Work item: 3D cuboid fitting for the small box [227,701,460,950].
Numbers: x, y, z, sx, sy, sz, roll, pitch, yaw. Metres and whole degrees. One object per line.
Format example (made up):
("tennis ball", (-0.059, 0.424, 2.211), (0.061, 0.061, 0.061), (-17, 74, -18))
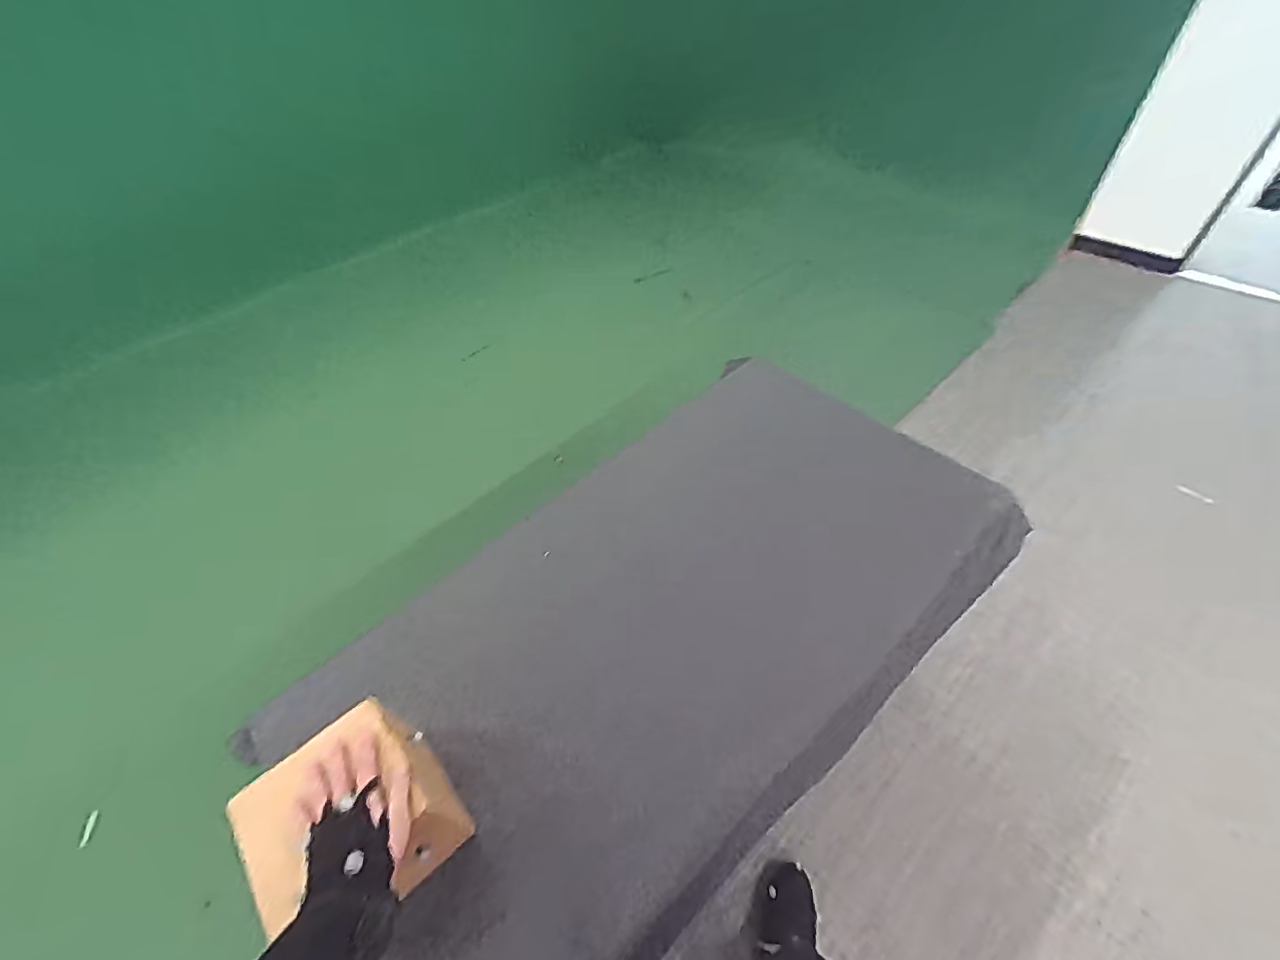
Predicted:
("small box", (-0.338, 0.412, 0.649), (0.179, 0.176, 0.168), (-34, 52, -22))
